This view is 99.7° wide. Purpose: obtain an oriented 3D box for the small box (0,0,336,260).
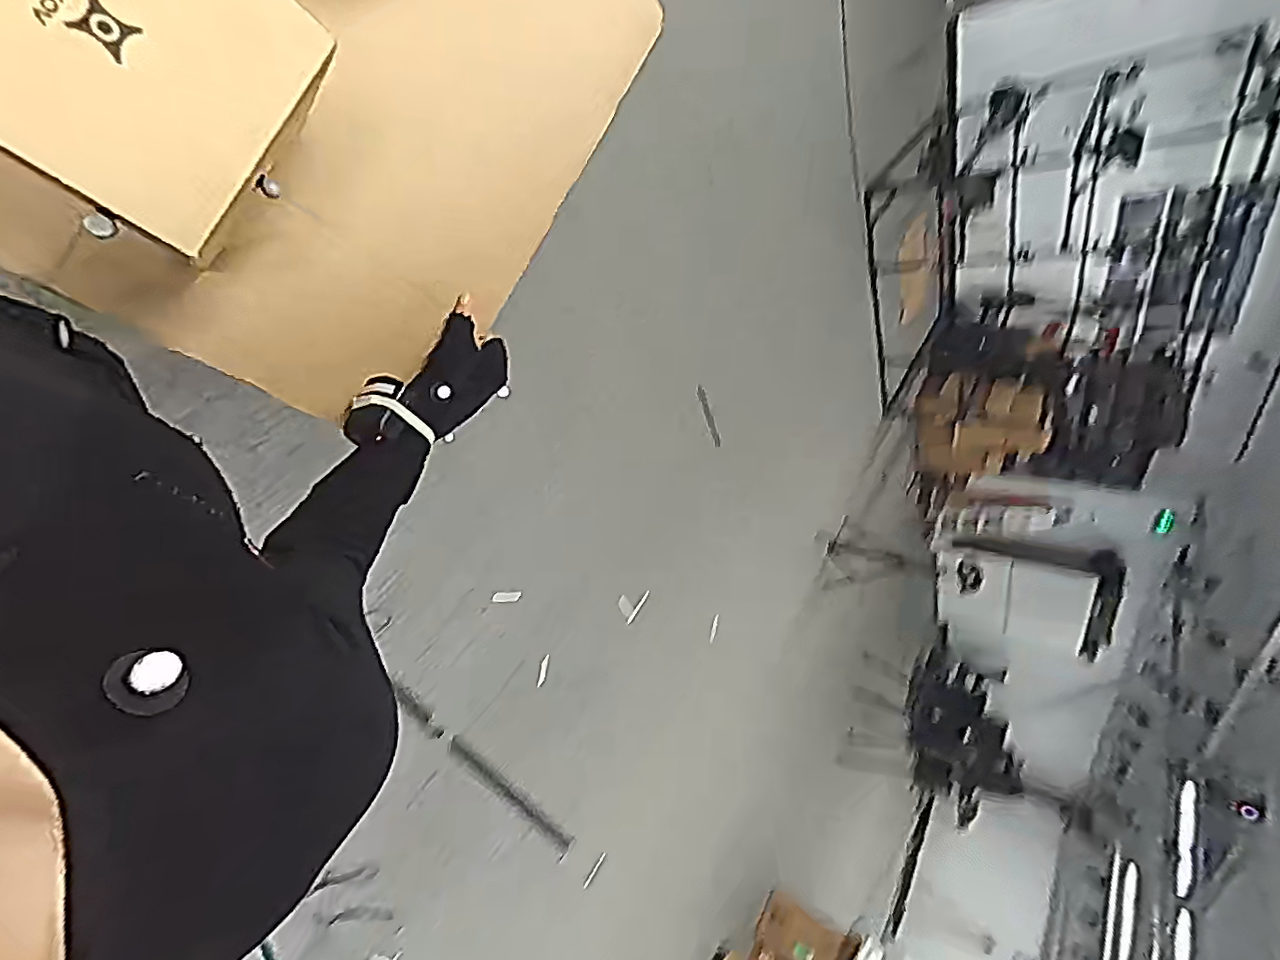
[{"bbox_3d":[-0.337,-0.266,0.350,0.179,0.176,0.168,35,82,-39],"label":"small box"}]
